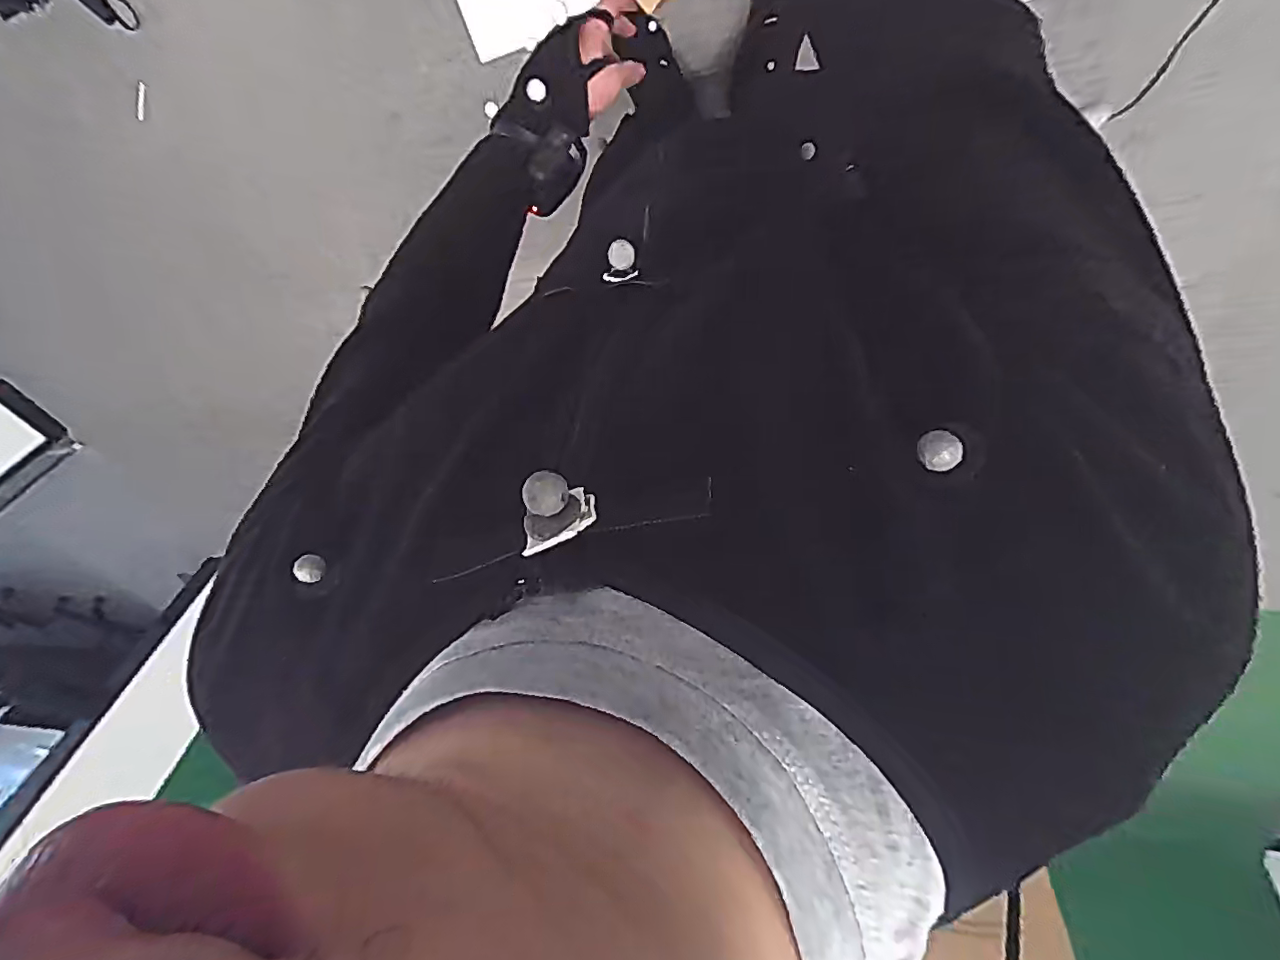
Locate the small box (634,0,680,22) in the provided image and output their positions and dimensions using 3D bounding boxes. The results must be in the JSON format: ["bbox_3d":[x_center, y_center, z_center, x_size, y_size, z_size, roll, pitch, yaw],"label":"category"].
[{"bbox_3d":[0.016,-0.569,0.481,0.168,0.176,0.179,33,134,-19],"label":"small box"}]
